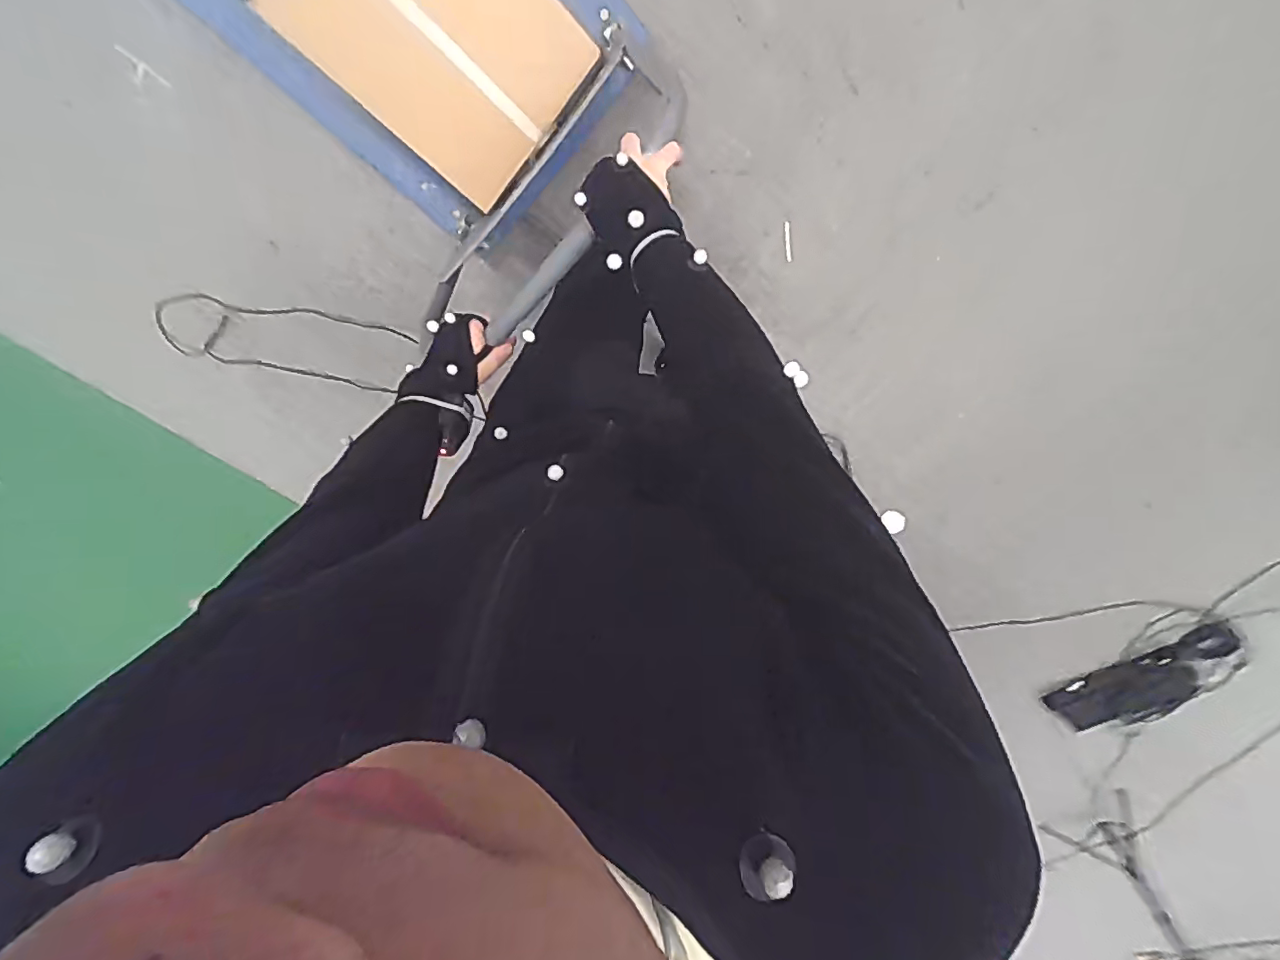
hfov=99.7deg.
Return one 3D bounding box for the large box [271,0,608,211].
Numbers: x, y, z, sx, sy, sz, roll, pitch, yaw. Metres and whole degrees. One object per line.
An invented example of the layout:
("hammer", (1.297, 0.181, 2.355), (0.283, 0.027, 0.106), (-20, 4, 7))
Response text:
("large box", (-0.302, -0.762, 0.932), (0.408, 0.320, 0.320), (36, 119, -27))
